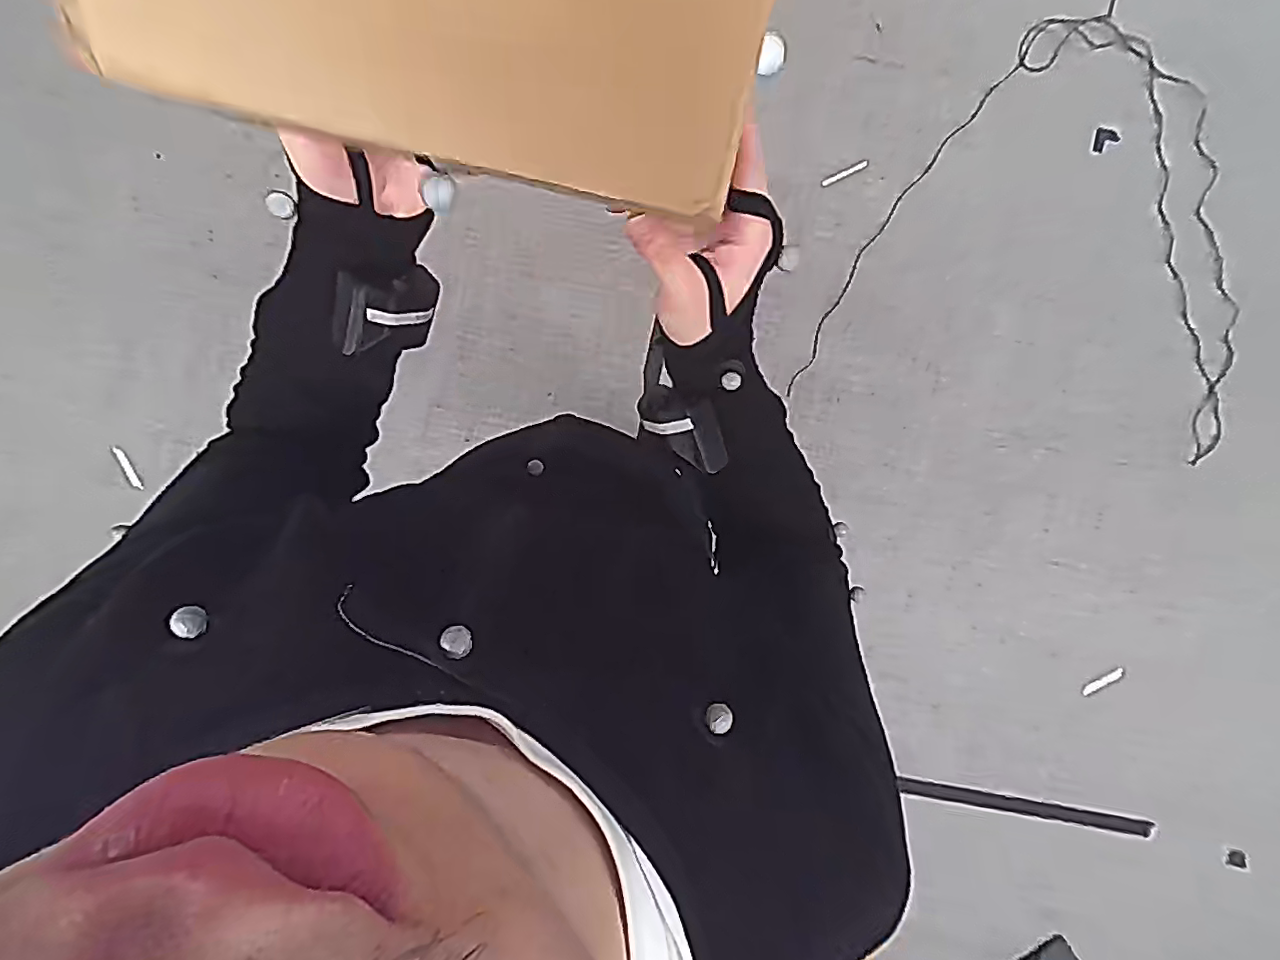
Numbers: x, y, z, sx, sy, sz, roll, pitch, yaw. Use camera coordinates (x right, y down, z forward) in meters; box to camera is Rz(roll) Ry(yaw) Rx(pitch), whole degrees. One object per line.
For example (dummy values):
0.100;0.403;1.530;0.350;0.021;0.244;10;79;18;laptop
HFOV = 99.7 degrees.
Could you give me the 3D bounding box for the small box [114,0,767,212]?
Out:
-0.041;-0.199;0.194;0.179;0.176;0.168;10;116;0;small box
